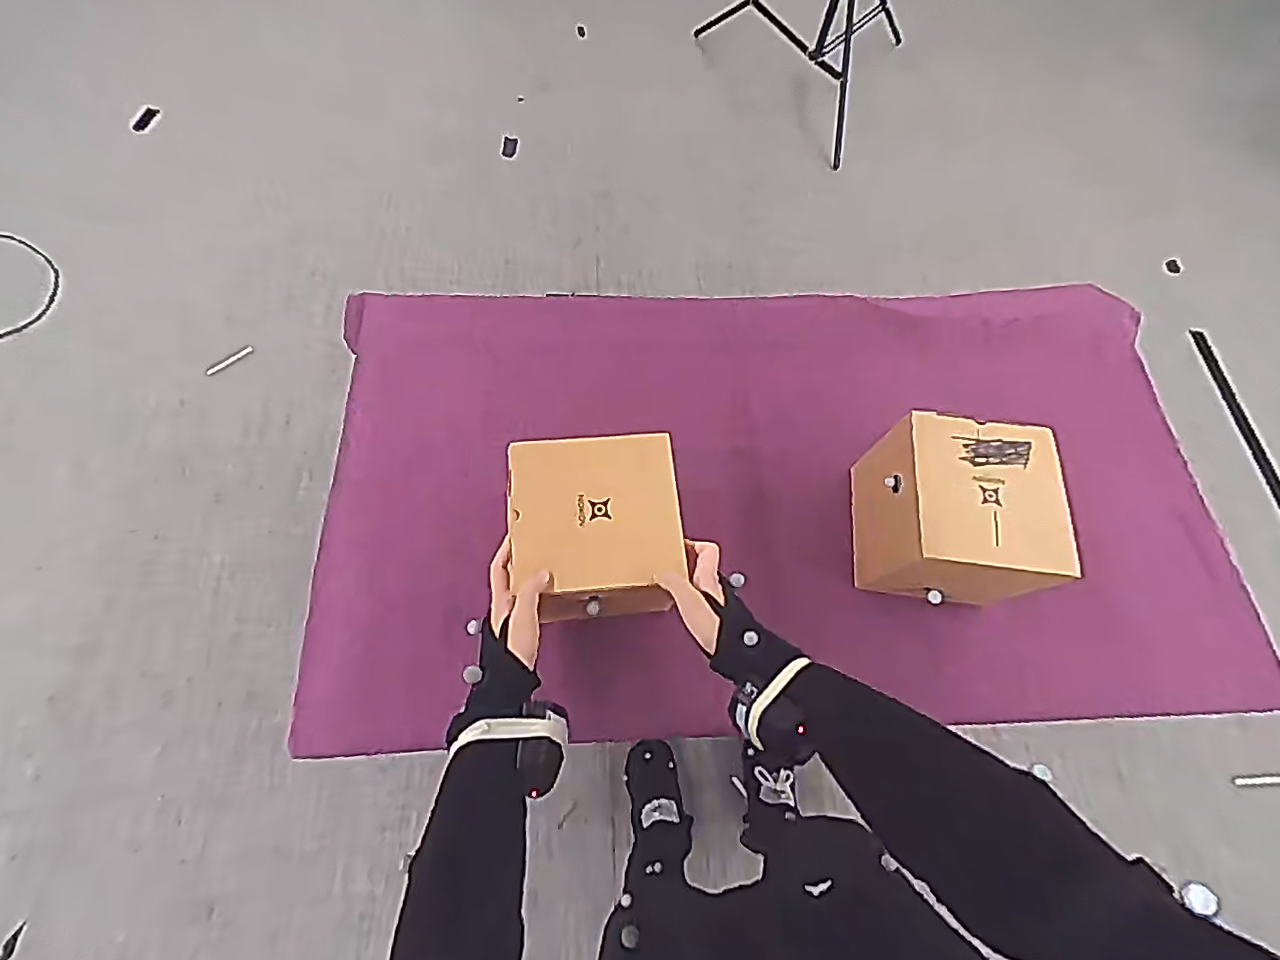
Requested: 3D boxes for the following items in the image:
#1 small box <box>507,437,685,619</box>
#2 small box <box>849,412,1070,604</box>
[{"bbox_3d":[-0.054,0.063,0.629,0.179,0.176,0.168,-4,68,-5],"label":"small box"},{"bbox_3d":[0.368,0.042,0.661,0.168,0.176,0.179,8,68,0],"label":"small box"}]
